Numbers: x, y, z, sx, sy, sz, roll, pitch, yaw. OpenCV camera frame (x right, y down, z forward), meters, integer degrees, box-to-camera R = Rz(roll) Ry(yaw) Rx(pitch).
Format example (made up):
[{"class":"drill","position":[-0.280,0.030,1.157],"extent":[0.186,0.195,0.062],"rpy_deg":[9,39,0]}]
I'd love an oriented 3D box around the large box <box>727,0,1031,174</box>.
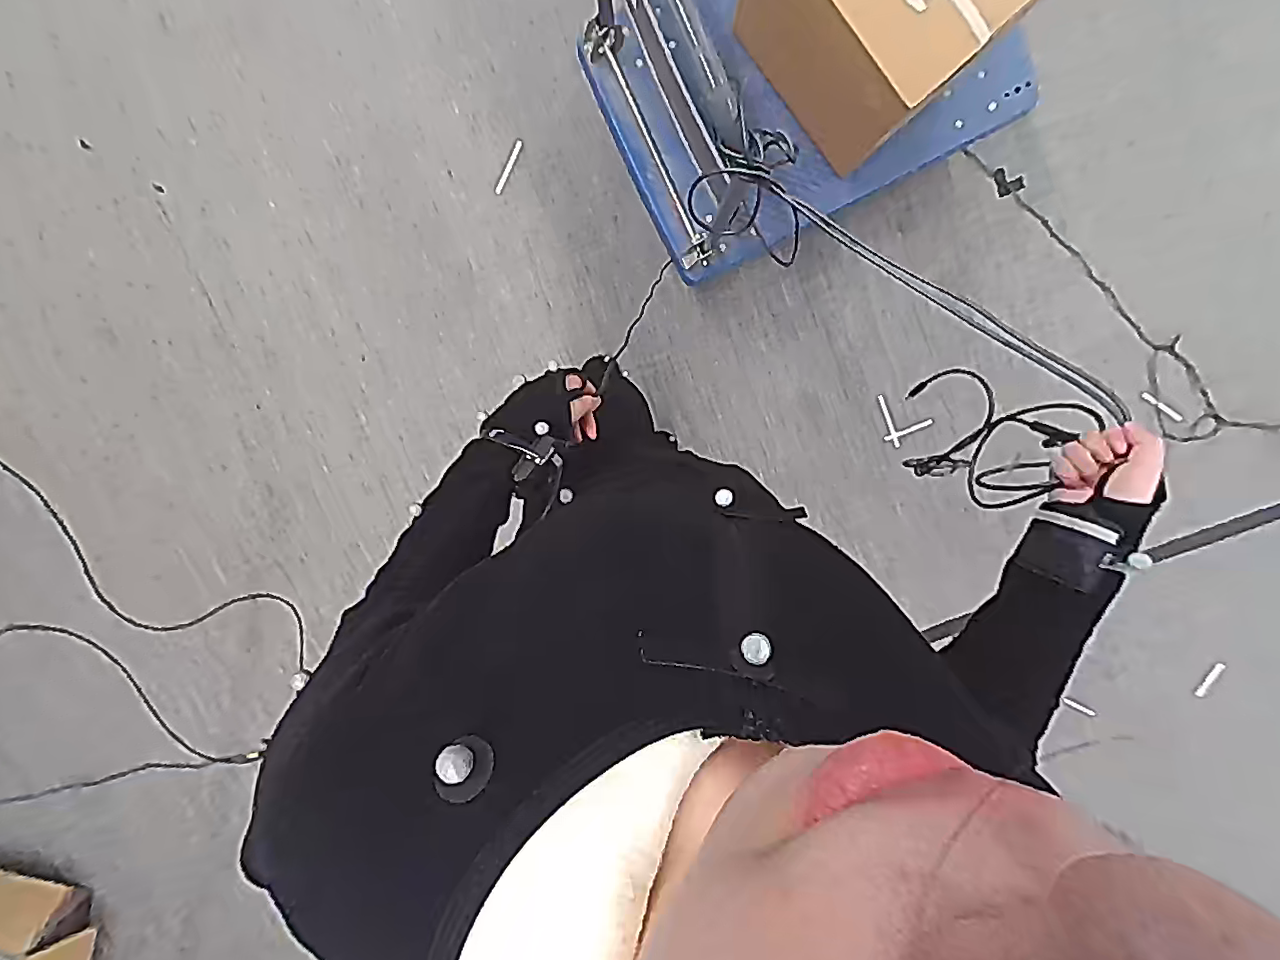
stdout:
[{"class":"large box","position":[0.428,-0.895,1.019],"extent":[0.320,0.320,0.408],"rpy_deg":[-41,99,6]}]
